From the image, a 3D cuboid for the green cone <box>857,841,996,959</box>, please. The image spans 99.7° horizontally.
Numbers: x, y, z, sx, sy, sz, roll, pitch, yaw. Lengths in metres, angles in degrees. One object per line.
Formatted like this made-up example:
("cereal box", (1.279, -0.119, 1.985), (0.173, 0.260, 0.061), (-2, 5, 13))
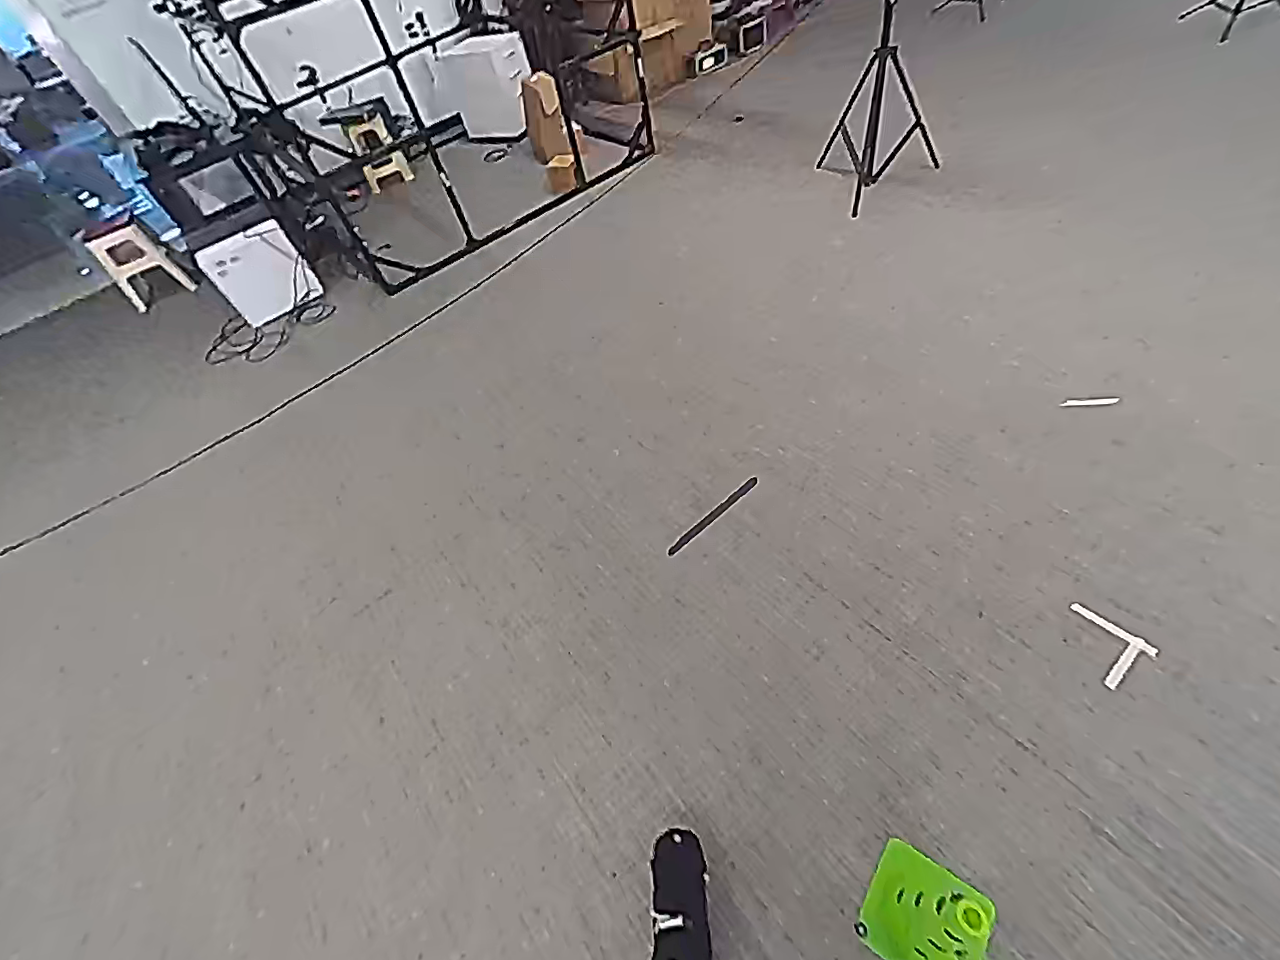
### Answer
("green cone", (0.511, 0.729, 0.896), (0.200, 0.368, 0.202), (24, 59, 29))
